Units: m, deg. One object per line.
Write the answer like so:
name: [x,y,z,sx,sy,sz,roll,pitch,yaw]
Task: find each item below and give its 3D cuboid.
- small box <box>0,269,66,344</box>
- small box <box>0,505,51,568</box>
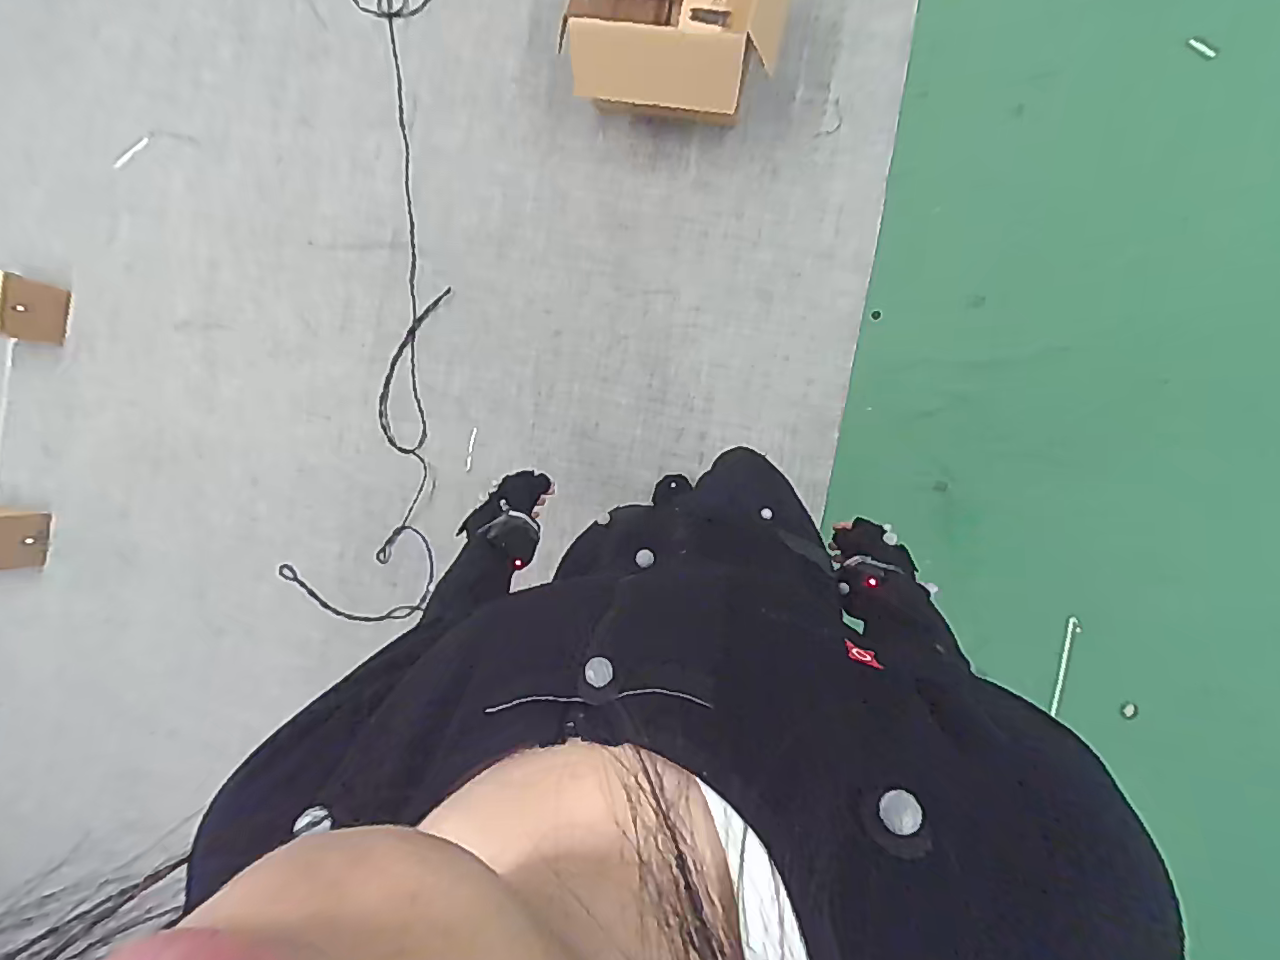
small box: [-1.844,-0.511,1.578,0.168,0.176,0.179,9,93,5]
small box: [-1.930,0.169,1.604,0.179,0.176,0.168,9,93,5]
